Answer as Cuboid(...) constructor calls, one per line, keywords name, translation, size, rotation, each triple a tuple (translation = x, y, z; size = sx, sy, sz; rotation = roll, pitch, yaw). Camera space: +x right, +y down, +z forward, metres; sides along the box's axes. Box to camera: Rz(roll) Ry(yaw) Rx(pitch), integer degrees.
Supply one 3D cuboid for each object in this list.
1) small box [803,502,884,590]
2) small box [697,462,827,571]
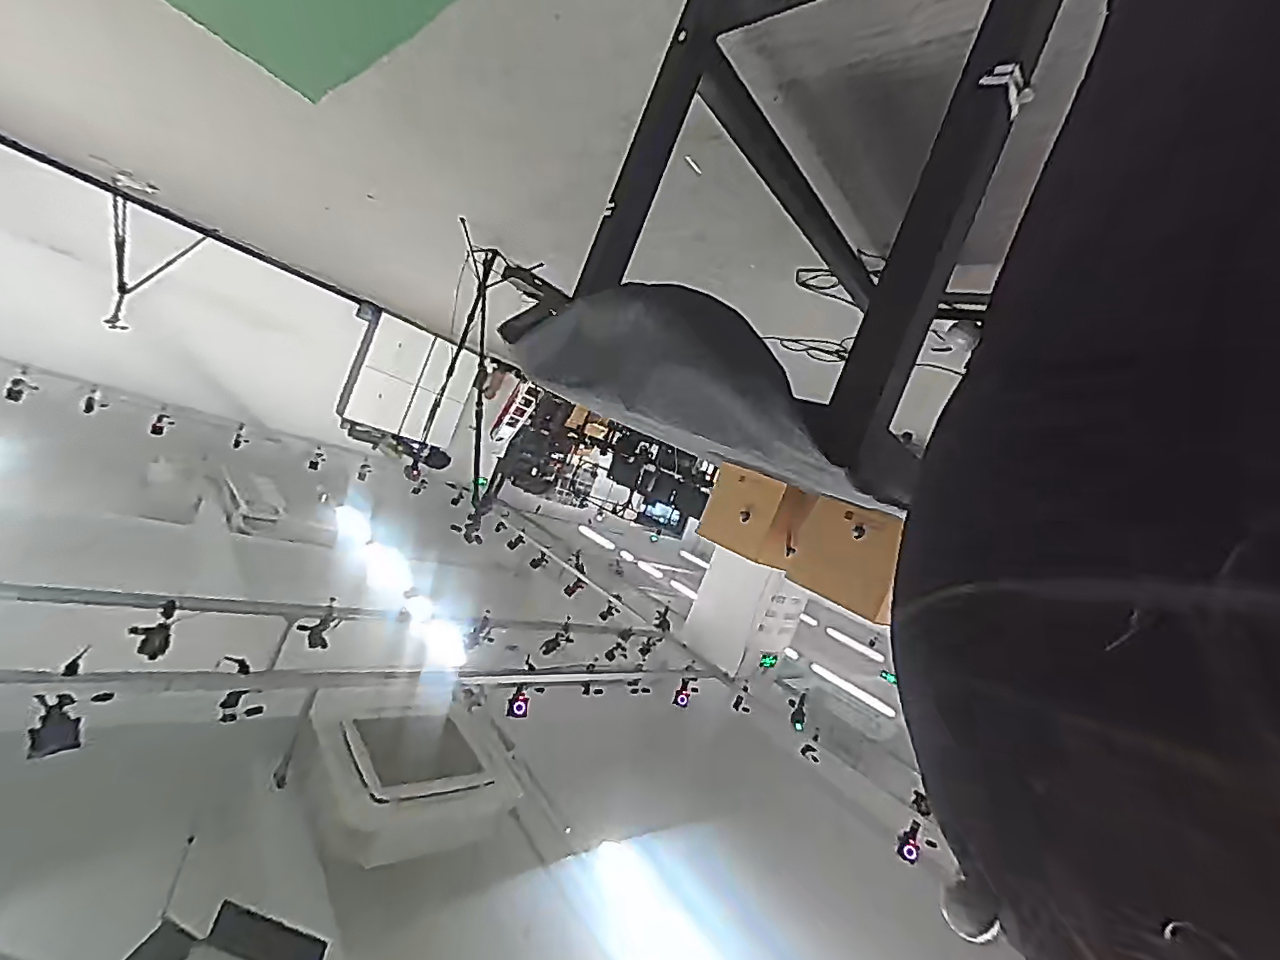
Cuboid(name="small box", translation=(0.457, 0.147, 1.305), size=(0.179, 0.176, 0.168), rotation=(20, -177, -44))
Cuboid(name="small box", translation=(0.254, 0.072, 1.118), size=(0.179, 0.176, 0.168), rotation=(18, -177, -43))
